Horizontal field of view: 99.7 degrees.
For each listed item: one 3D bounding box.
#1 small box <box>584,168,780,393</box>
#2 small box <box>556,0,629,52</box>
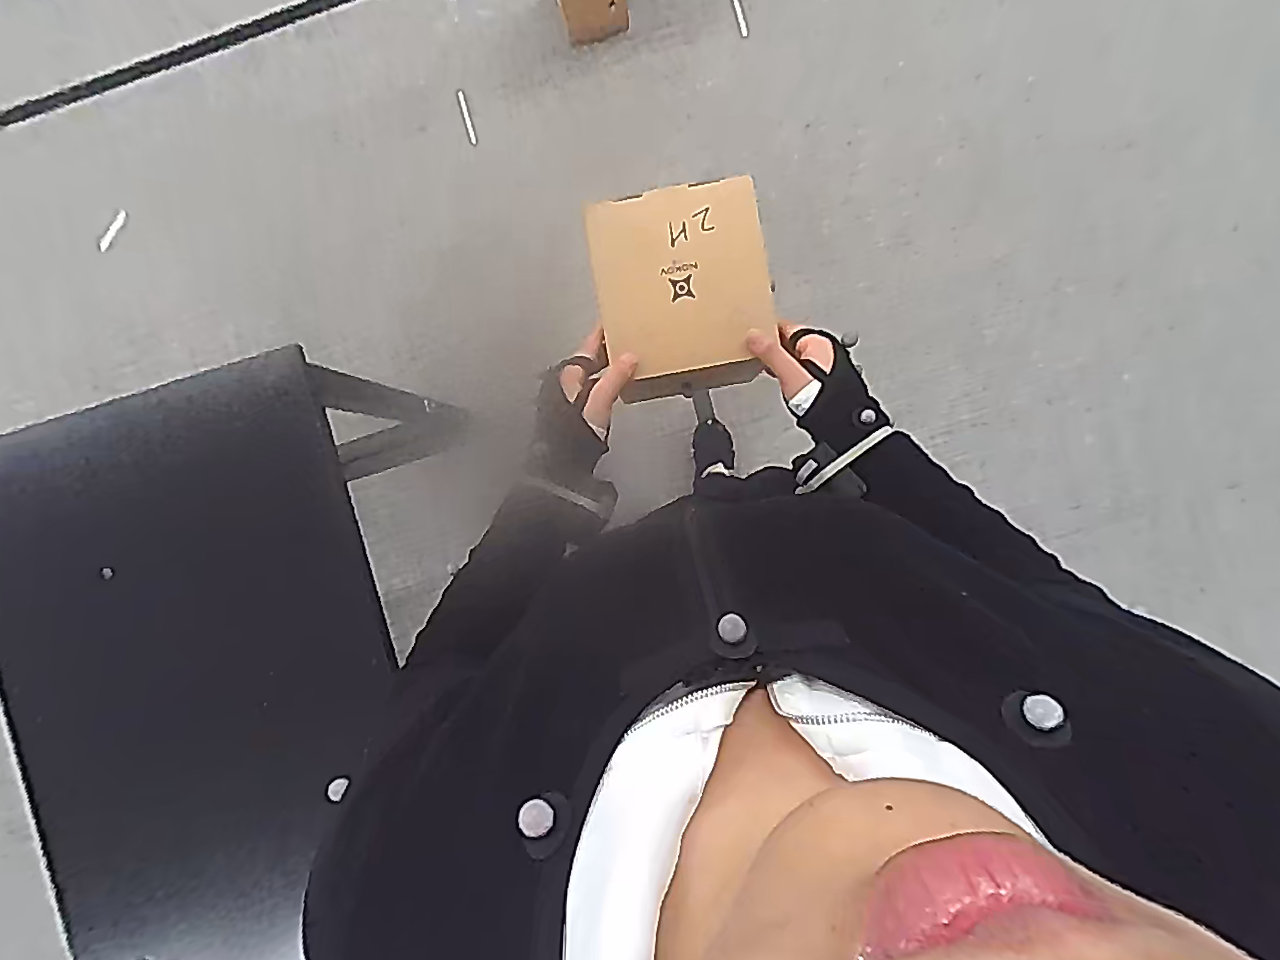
[{"bbox_3d":[0.045,-0.197,0.594,0.168,0.176,0.179,-11,90,3],"label":"small box"},{"bbox_3d":[-0.133,-1.291,1.427,0.179,0.176,0.168,-17,88,4],"label":"small box"}]
